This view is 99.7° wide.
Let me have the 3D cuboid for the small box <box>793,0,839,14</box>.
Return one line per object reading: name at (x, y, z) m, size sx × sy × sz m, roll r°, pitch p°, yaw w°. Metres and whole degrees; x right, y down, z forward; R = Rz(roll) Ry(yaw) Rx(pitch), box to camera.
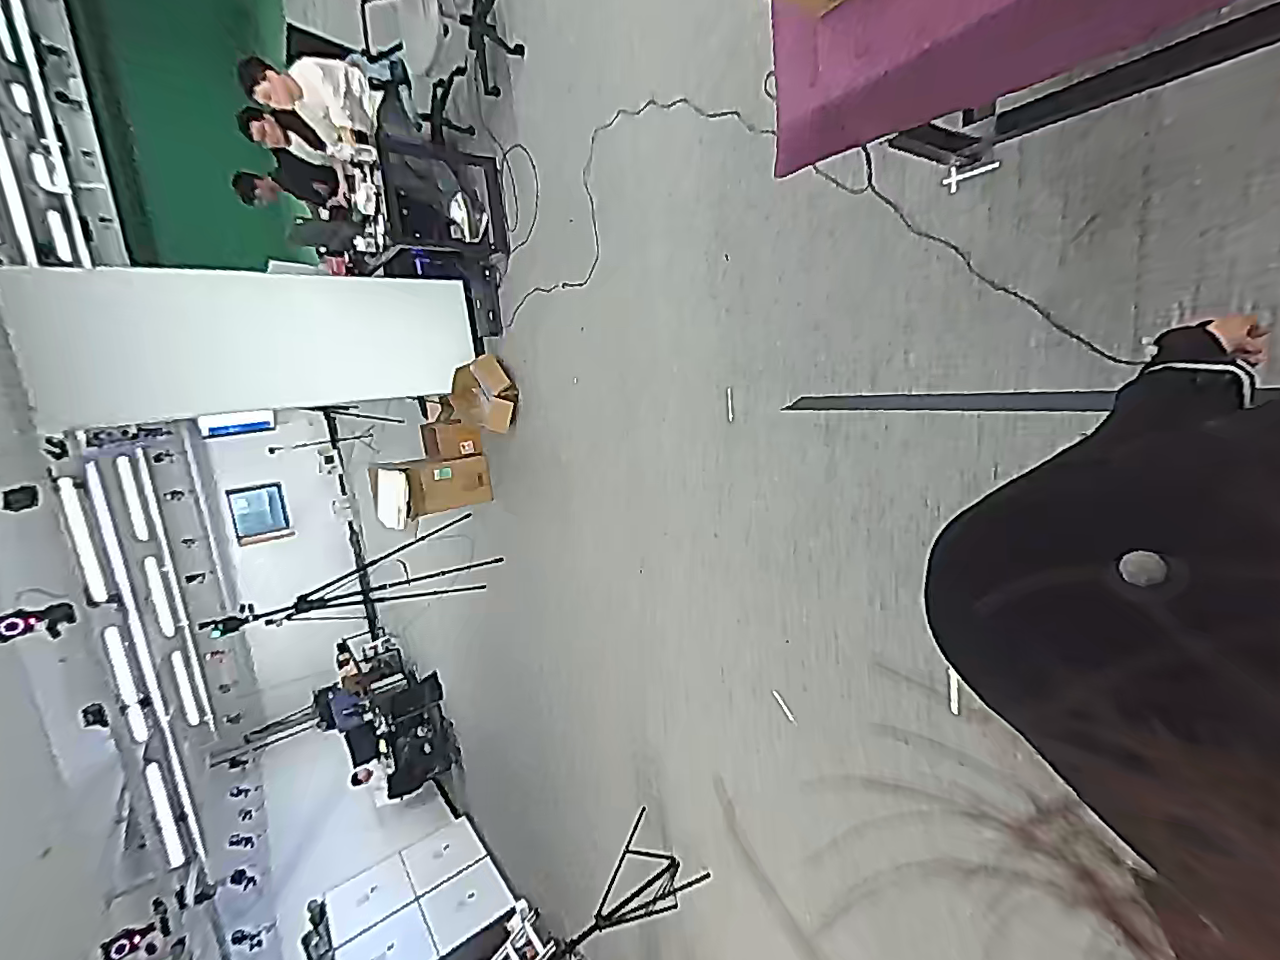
small box at (0.277, -0.867, 0.814) m, size 0.168 × 0.176 × 0.179 m, roll 2°, pitch 103°, yaw 54°
